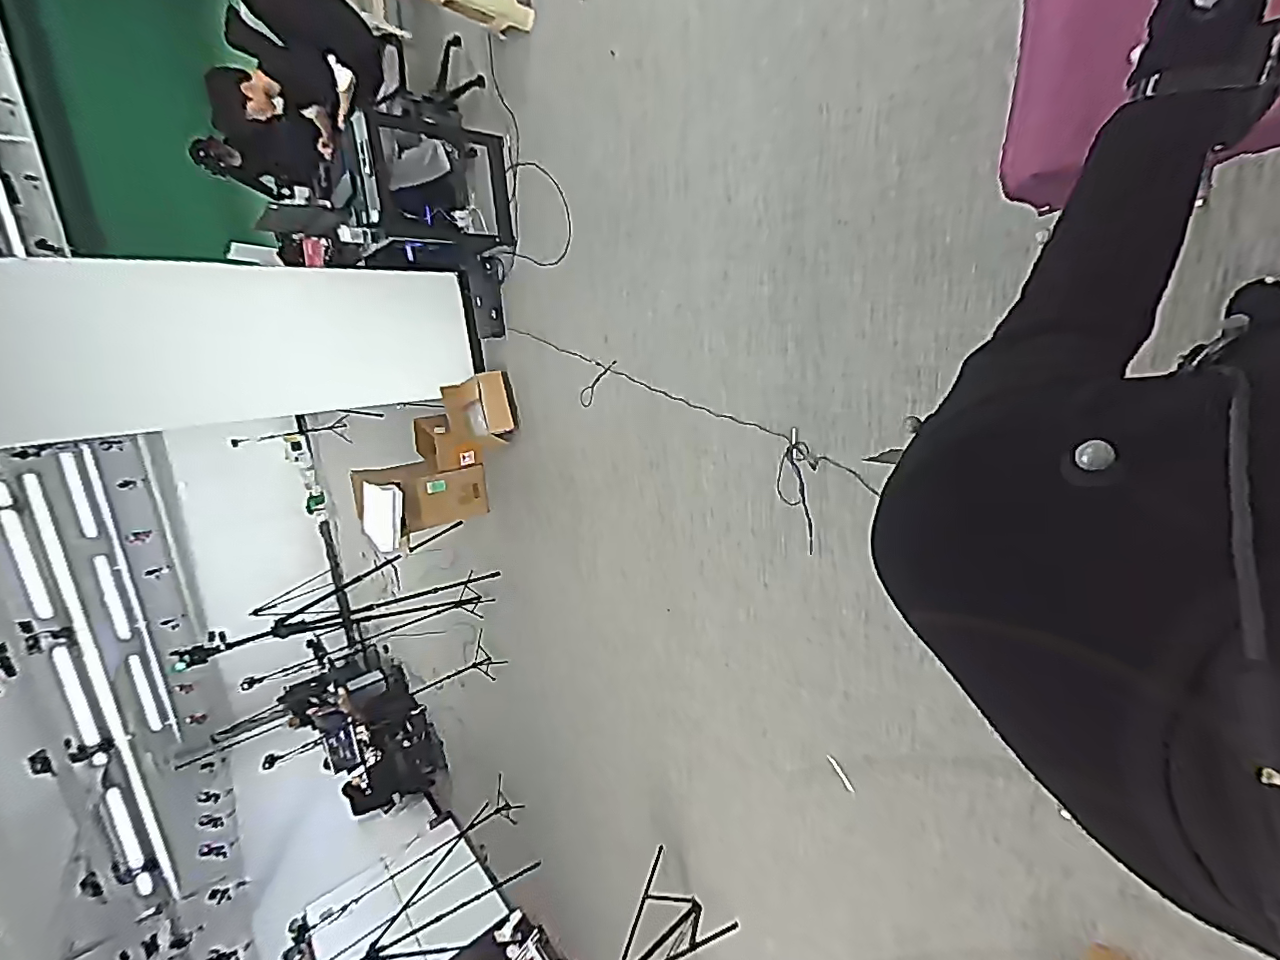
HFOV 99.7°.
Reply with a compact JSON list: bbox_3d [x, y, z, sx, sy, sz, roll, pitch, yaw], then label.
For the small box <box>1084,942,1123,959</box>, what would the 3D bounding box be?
[{"bbox_3d":[1.307,1.442,1.484,0.168,0.176,0.179,17,116,48],"label":"small box"}]
